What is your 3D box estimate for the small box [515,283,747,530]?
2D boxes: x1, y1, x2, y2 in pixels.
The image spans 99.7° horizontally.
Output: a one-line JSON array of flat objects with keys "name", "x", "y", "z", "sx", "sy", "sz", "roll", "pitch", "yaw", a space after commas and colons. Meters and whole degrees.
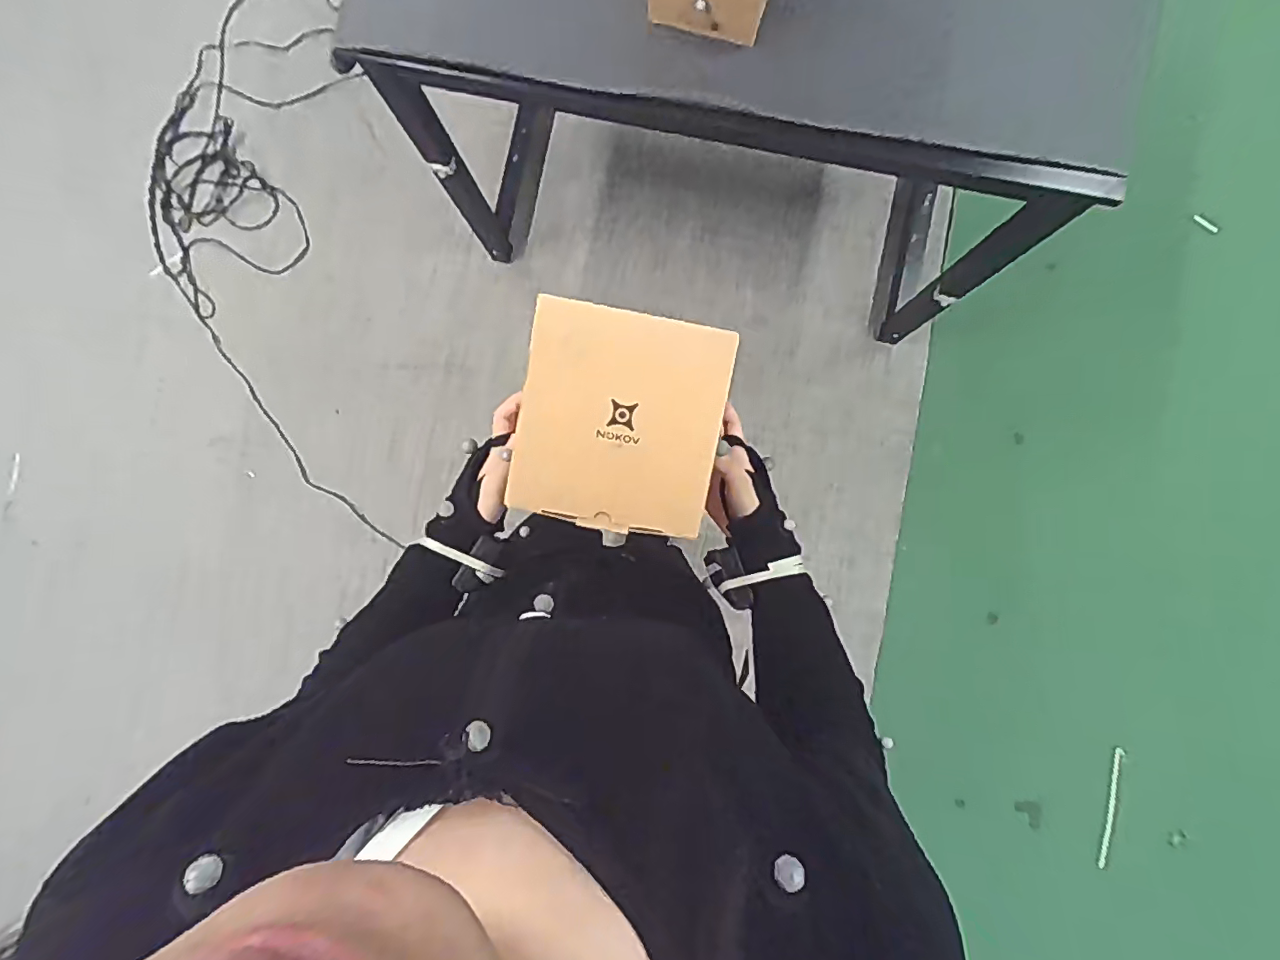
[{"name": "small box", "x": -0.012, "y": -0.065, "z": 0.512, "sx": 0.168, "sy": 0.176, "sz": 0.179, "roll": 9, "pitch": 97, "yaw": -3}]

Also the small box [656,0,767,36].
[{"name": "small box", "x": 0.116, "y": -0.765, "z": 0.727, "sx": 0.168, "sy": 0.176, "sz": 0.179, "roll": 17, "pitch": 87, "yaw": 3}]
